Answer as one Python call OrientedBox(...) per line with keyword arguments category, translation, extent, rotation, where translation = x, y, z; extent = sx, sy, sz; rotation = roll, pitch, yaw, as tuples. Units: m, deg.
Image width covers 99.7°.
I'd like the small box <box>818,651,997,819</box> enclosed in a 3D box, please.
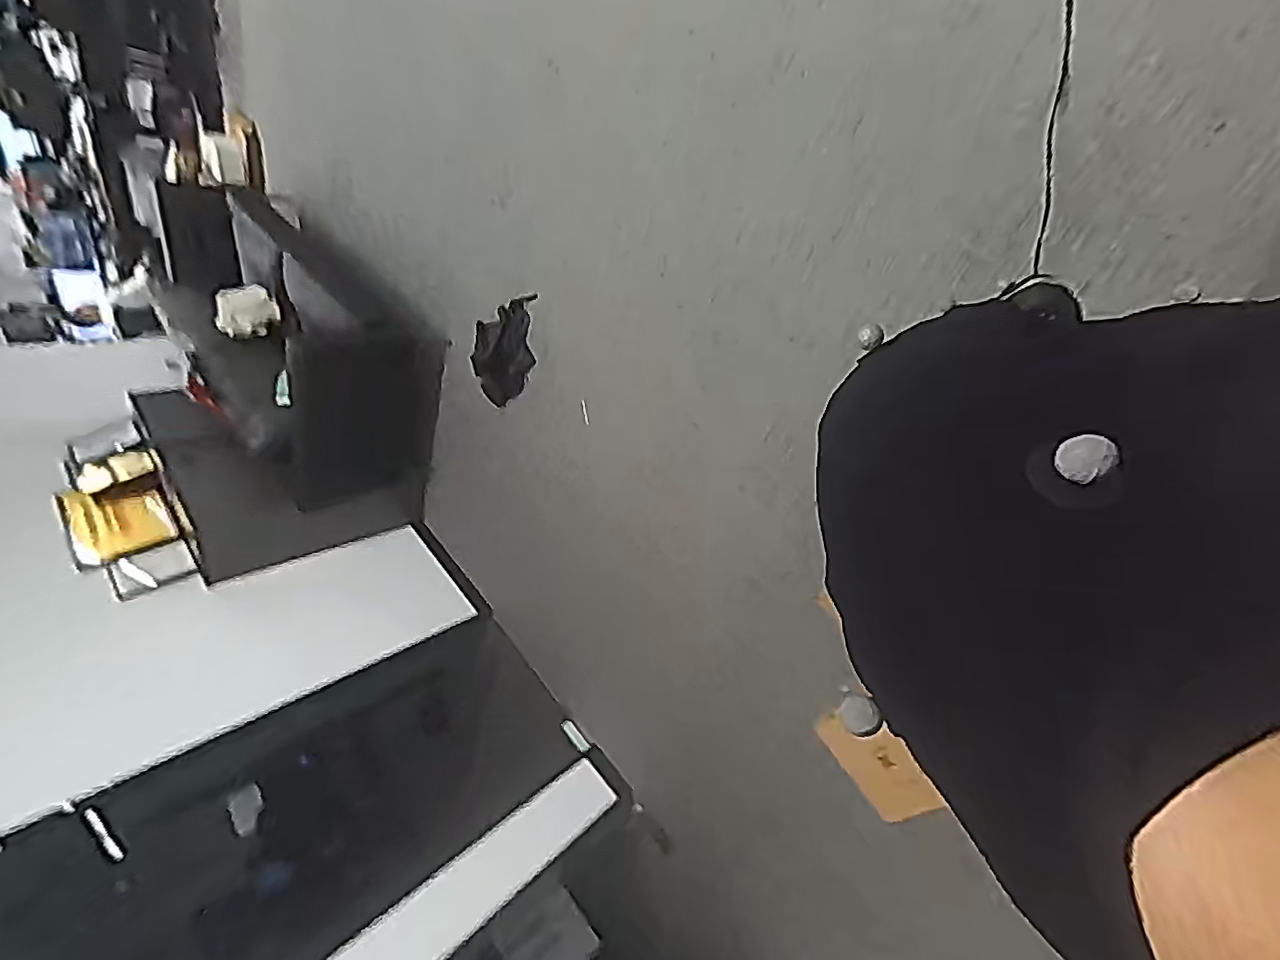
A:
OrientedBox(category="small box", translation=(0.440, 0.408, 0.892), extent=(0.179, 0.176, 0.168), rotation=(51, 134, 19))
